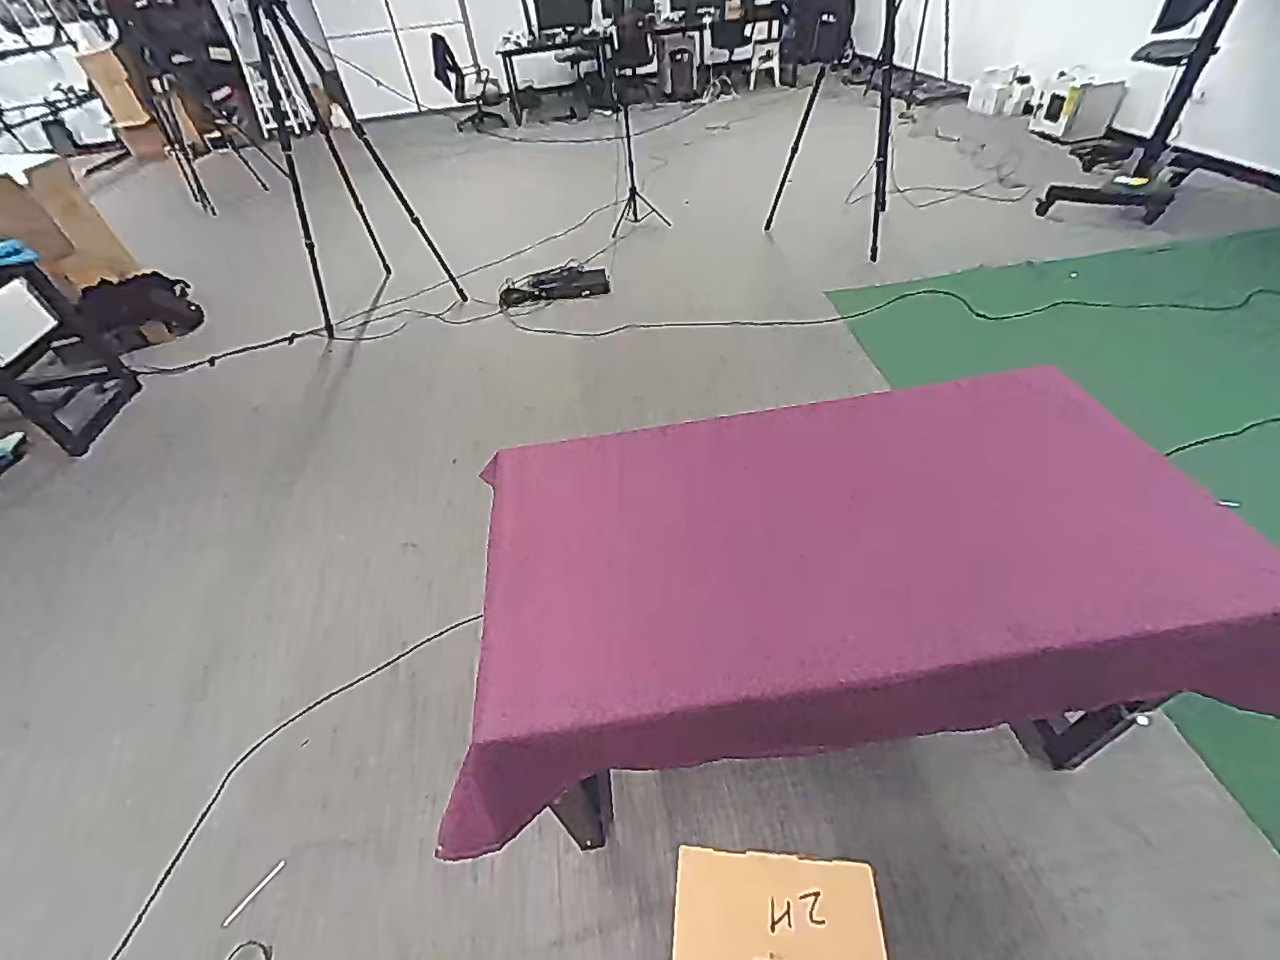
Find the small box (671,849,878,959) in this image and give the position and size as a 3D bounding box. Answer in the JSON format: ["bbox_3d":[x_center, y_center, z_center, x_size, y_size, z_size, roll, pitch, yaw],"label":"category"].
[{"bbox_3d":[0.116,0.457,0.472,0.168,0.176,0.179,-1,40,11],"label":"small box"}]
